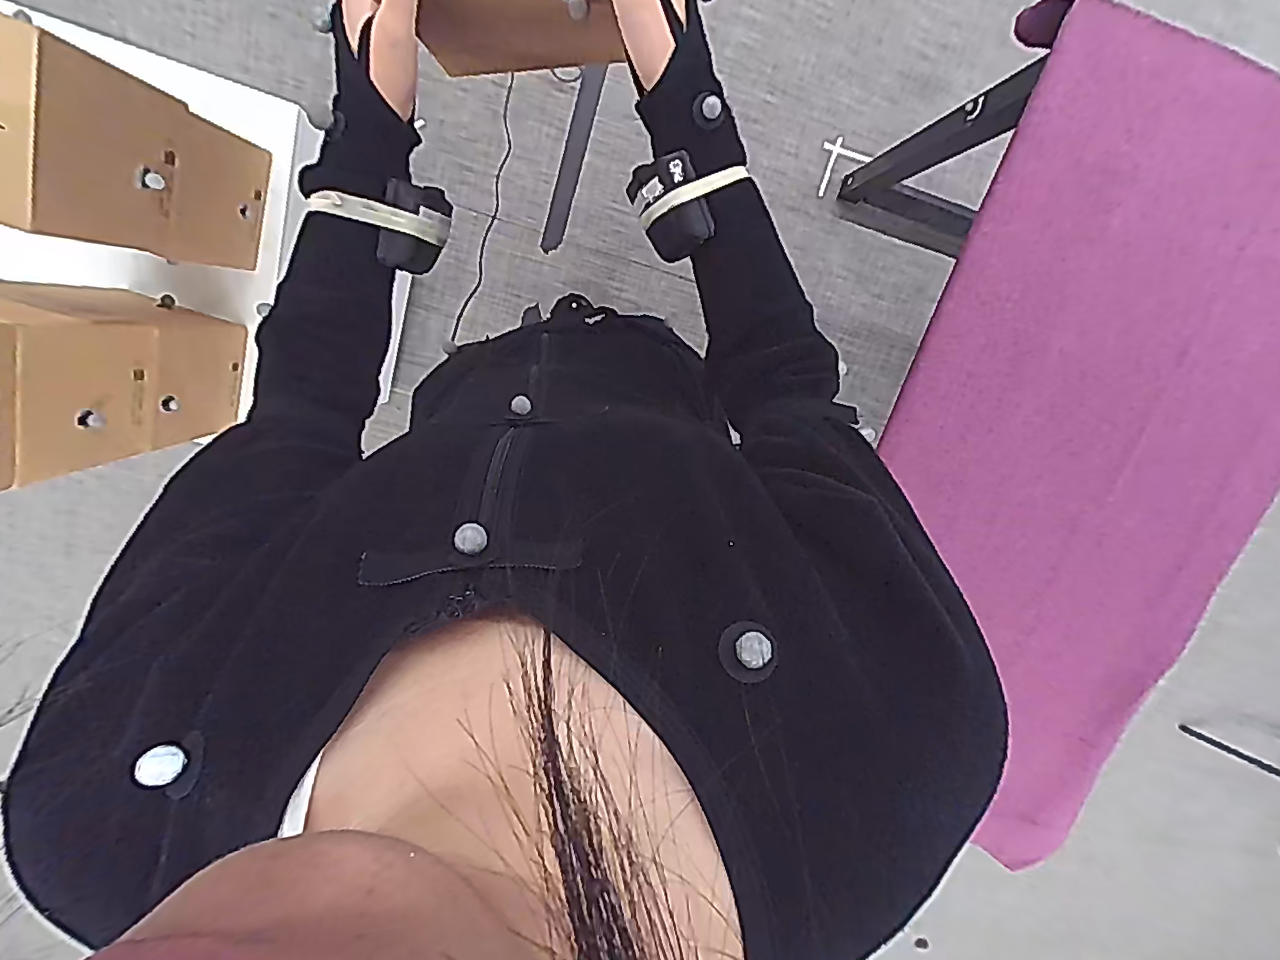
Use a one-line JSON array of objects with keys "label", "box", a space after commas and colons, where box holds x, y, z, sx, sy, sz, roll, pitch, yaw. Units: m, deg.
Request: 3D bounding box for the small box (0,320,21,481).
[{"label": "small box", "box": [-0.665, -0.068, 0.421, 0.179, 0.176, 0.168, 15, 105, -8]}]

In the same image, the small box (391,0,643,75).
[{"label": "small box", "box": [-0.087, -0.416, 0.379, 0.179, 0.176, 0.168, -4, 107, 1]}]

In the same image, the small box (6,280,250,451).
[{"label": "small box", "box": [-0.682, -0.155, 0.734, 0.179, 0.176, 0.168, 17, 105, -7]}]

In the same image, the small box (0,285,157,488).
[{"label": "small box", "box": [-0.672, -0.111, 0.578, 0.179, 0.176, 0.168, 15, 105, -7]}]

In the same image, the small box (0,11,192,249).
[{"label": "small box", "box": [-0.589, -0.336, 0.516, 0.179, 0.176, 0.168, 18, 105, -9]}]
